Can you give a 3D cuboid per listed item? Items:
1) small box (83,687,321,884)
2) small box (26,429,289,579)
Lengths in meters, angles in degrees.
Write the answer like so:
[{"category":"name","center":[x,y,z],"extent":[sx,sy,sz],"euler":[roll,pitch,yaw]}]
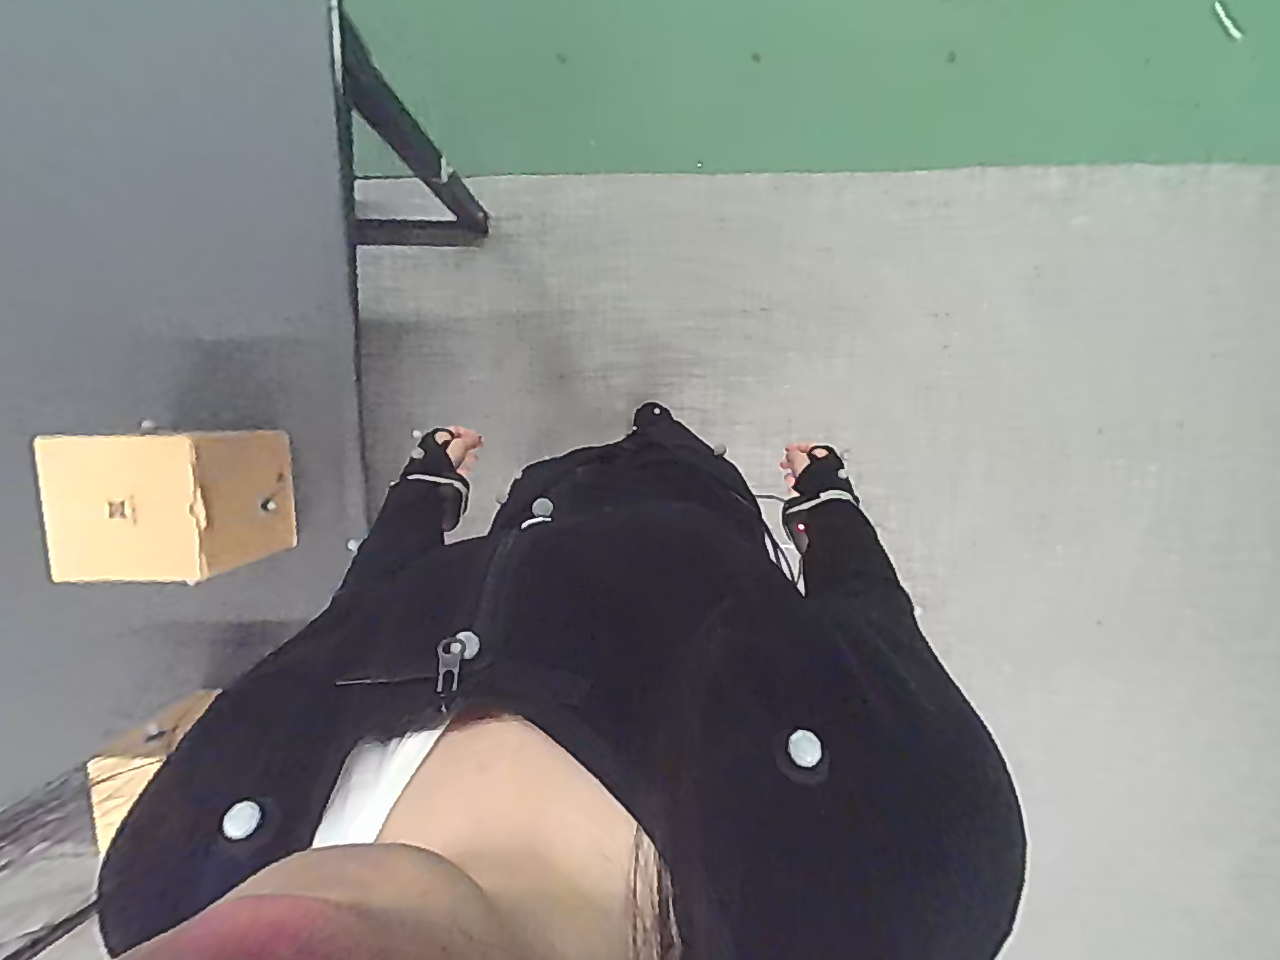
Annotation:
[{"category":"small box","center":[-0.564,0.393,0.720],"extent":[0.179,0.176,0.168],"euler":[-2,97,0]},{"category":"small box","center":[-0.584,0.021,0.678],"extent":[0.179,0.176,0.168],"euler":[-1,97,-1]}]
